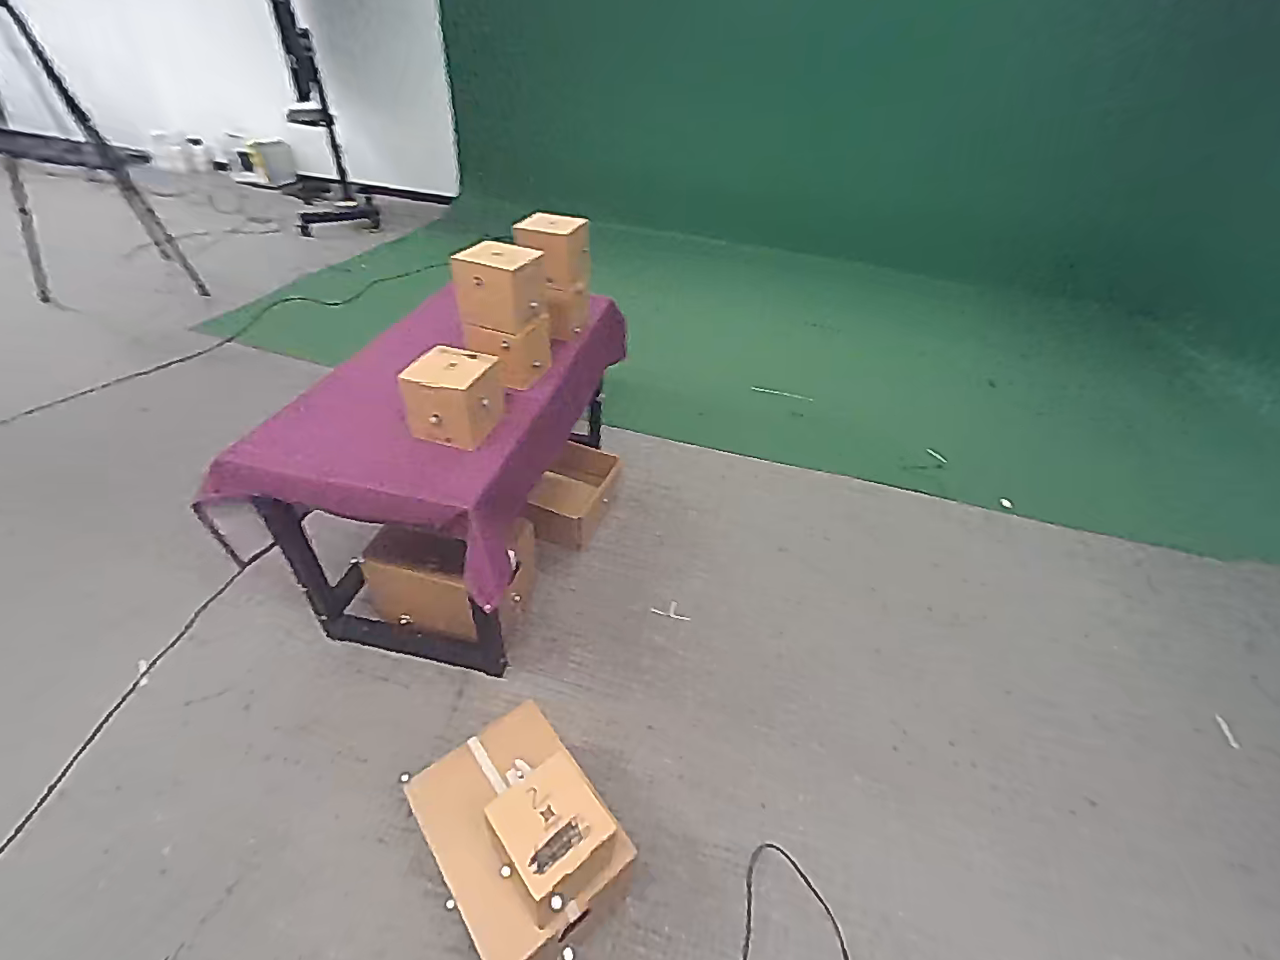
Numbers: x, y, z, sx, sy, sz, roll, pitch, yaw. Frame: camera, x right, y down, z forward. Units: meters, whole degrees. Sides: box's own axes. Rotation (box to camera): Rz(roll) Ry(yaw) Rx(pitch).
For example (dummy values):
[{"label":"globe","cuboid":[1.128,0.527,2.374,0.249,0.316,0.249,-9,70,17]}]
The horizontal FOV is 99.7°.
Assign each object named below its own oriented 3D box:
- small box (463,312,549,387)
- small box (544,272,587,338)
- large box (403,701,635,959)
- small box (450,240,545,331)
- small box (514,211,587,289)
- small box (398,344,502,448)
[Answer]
[{"label":"small box","cuboid":[-0.372,-0.383,1.528,0.179,0.176,0.168,17,42,12]},{"label":"small box","cuboid":[-0.279,-0.580,1.764,0.179,0.176,0.168,12,41,10]},{"label":"large box","cuboid":[-0.257,0.792,1.182,0.320,0.320,0.408,-26,48,-32]},{"label":"small box","cuboid":[-0.367,-0.511,1.423,0.179,0.176,0.168,17,43,13]},{"label":"small box","cuboid":[-0.269,-0.707,1.661,0.168,0.176,0.179,13,42,11]},{"label":"small box","cuboid":[-0.444,-0.201,1.303,0.168,0.176,0.179,13,42,9]}]
